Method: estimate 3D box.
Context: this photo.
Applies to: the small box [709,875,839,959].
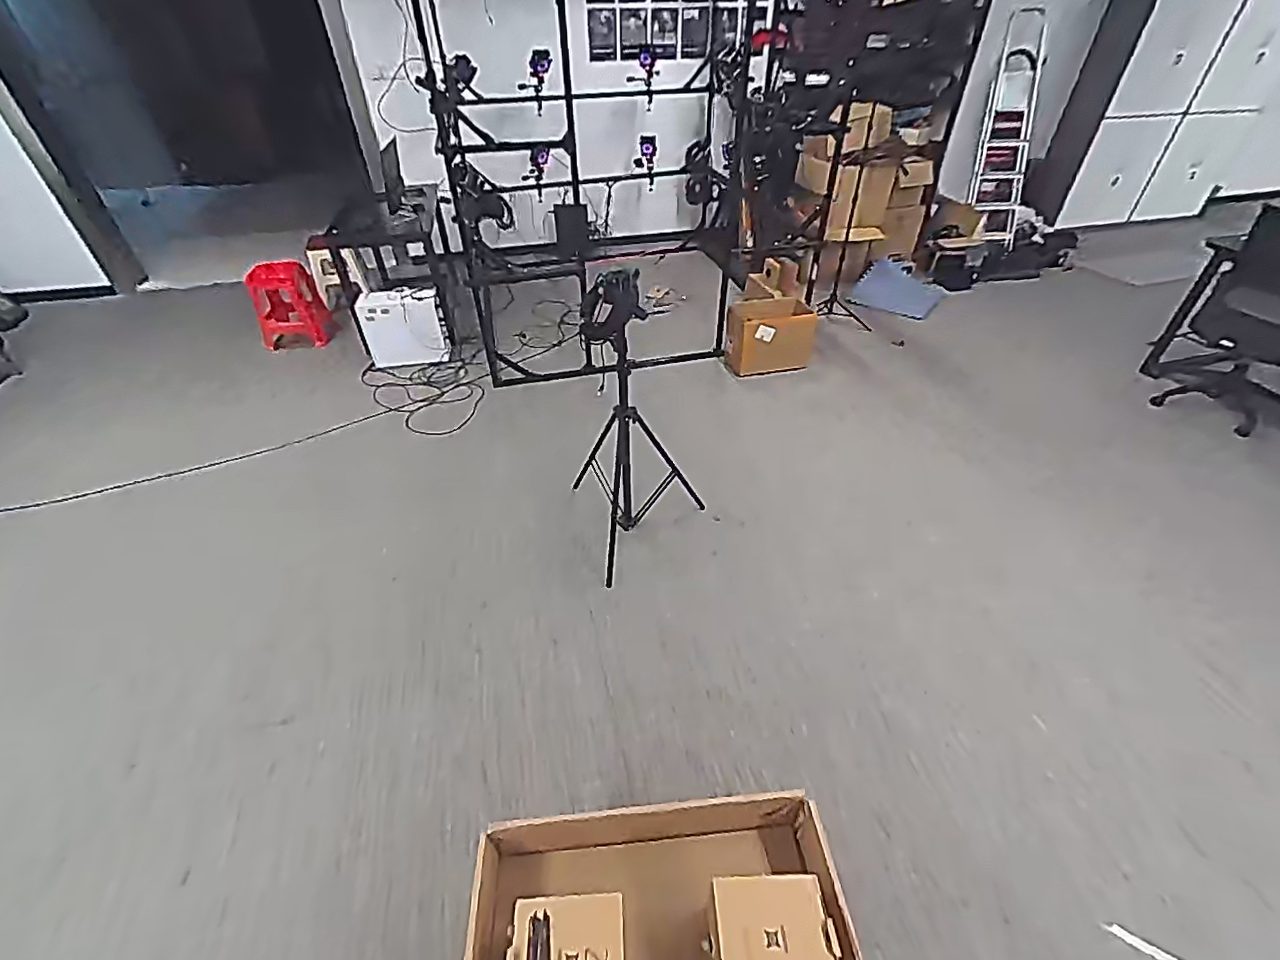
[{"bbox_3d":[0.211,0.764,0.874,0.179,0.176,0.168,-2,38,0],"label":"small box"}]
